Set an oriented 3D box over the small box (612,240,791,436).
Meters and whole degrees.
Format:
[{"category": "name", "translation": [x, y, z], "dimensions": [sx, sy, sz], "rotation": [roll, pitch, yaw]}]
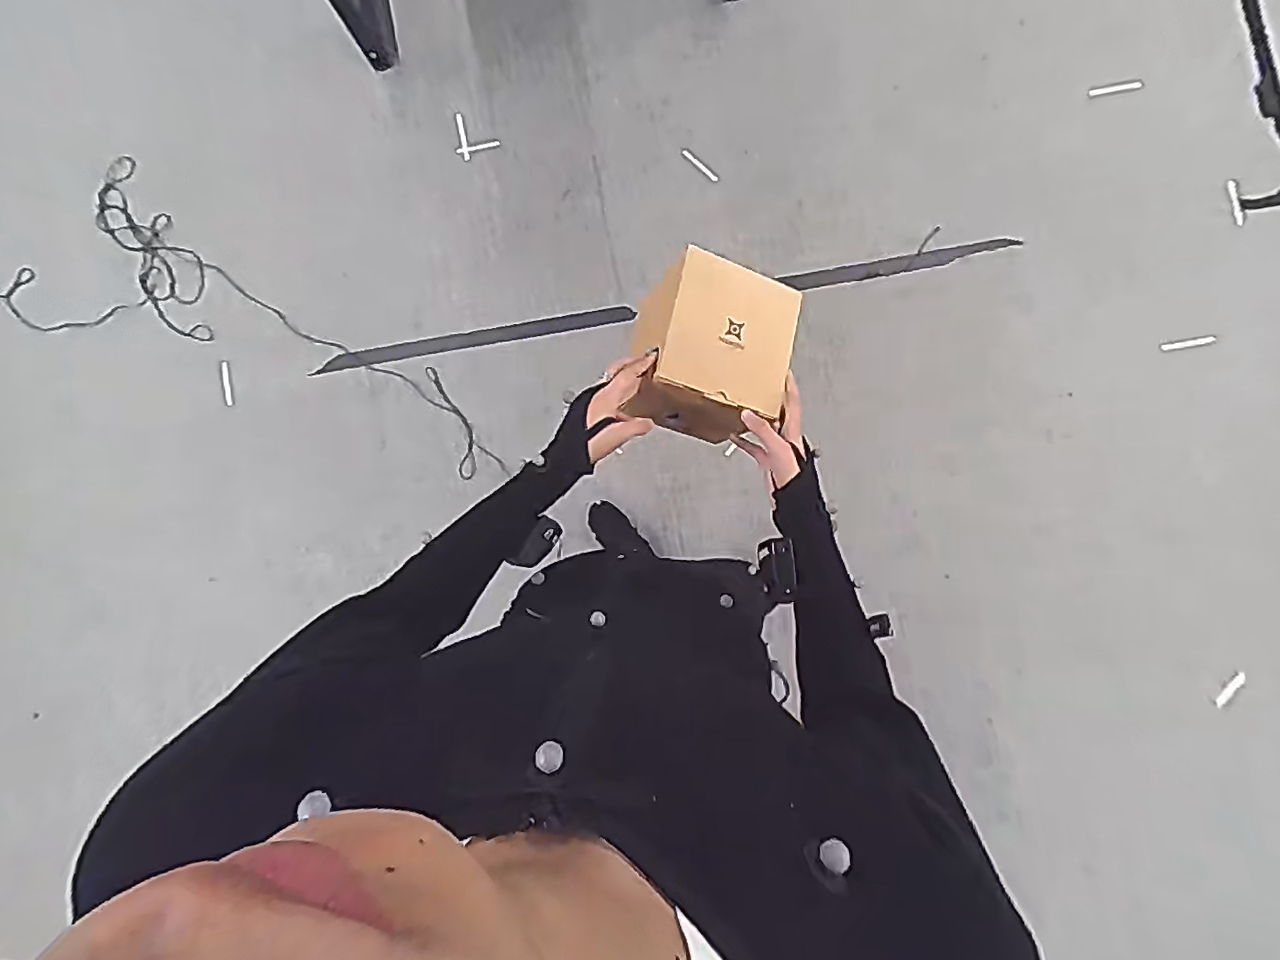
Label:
[{"category": "small box", "translation": [0.074, -0.173, 0.721], "dimensions": [0.168, 0.176, 0.179], "rotation": [15, 80, -18]}]
